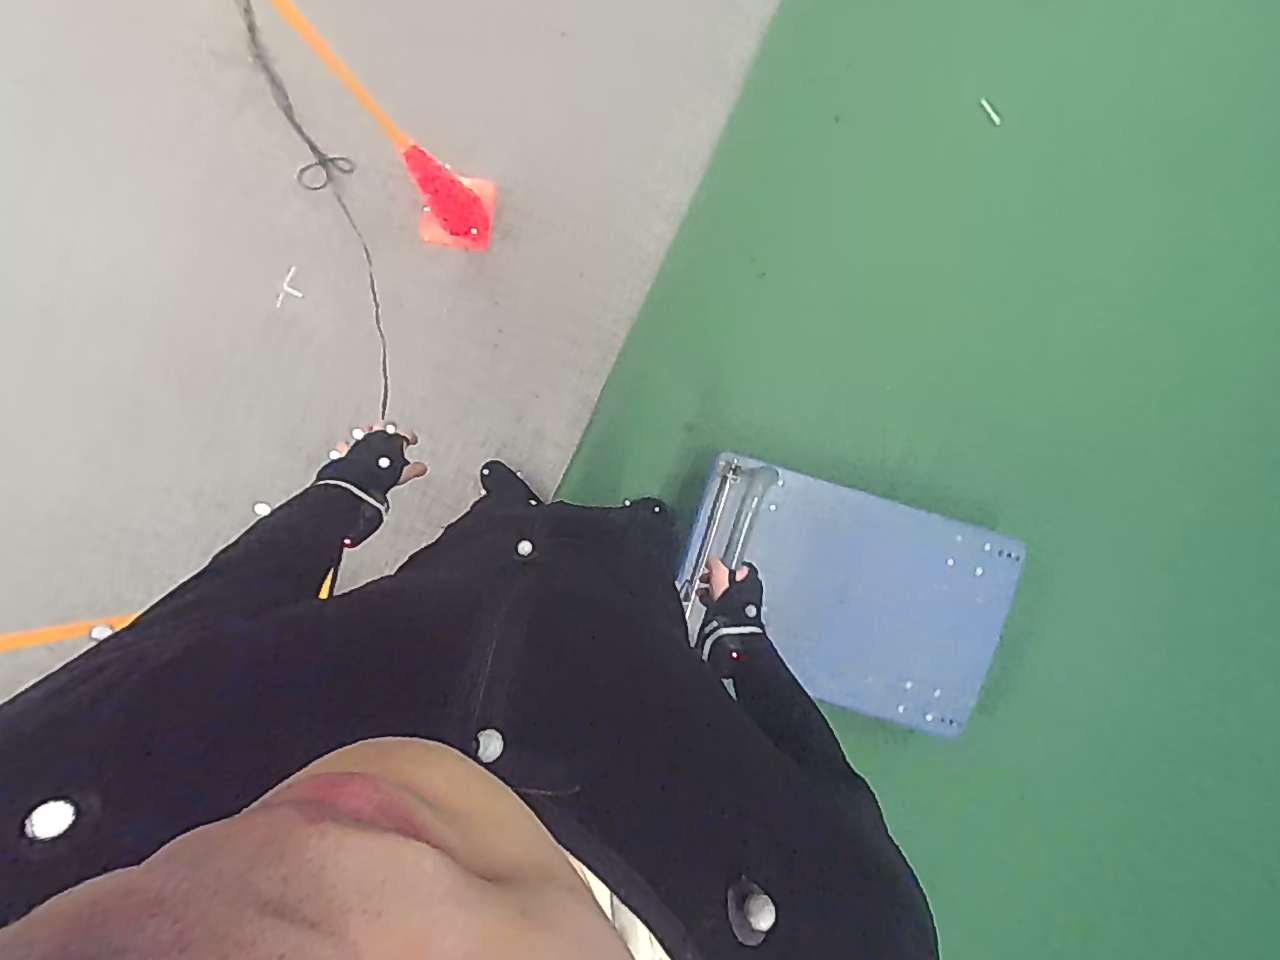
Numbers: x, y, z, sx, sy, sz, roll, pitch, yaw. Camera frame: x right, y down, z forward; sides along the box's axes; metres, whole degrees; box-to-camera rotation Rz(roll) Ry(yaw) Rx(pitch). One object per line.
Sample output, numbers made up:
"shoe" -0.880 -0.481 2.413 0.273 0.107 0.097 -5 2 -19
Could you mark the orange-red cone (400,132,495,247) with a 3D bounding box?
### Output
"orange-red cone" -0.530 -0.783 1.402 0.198 0.360 0.199 11 92 -1
